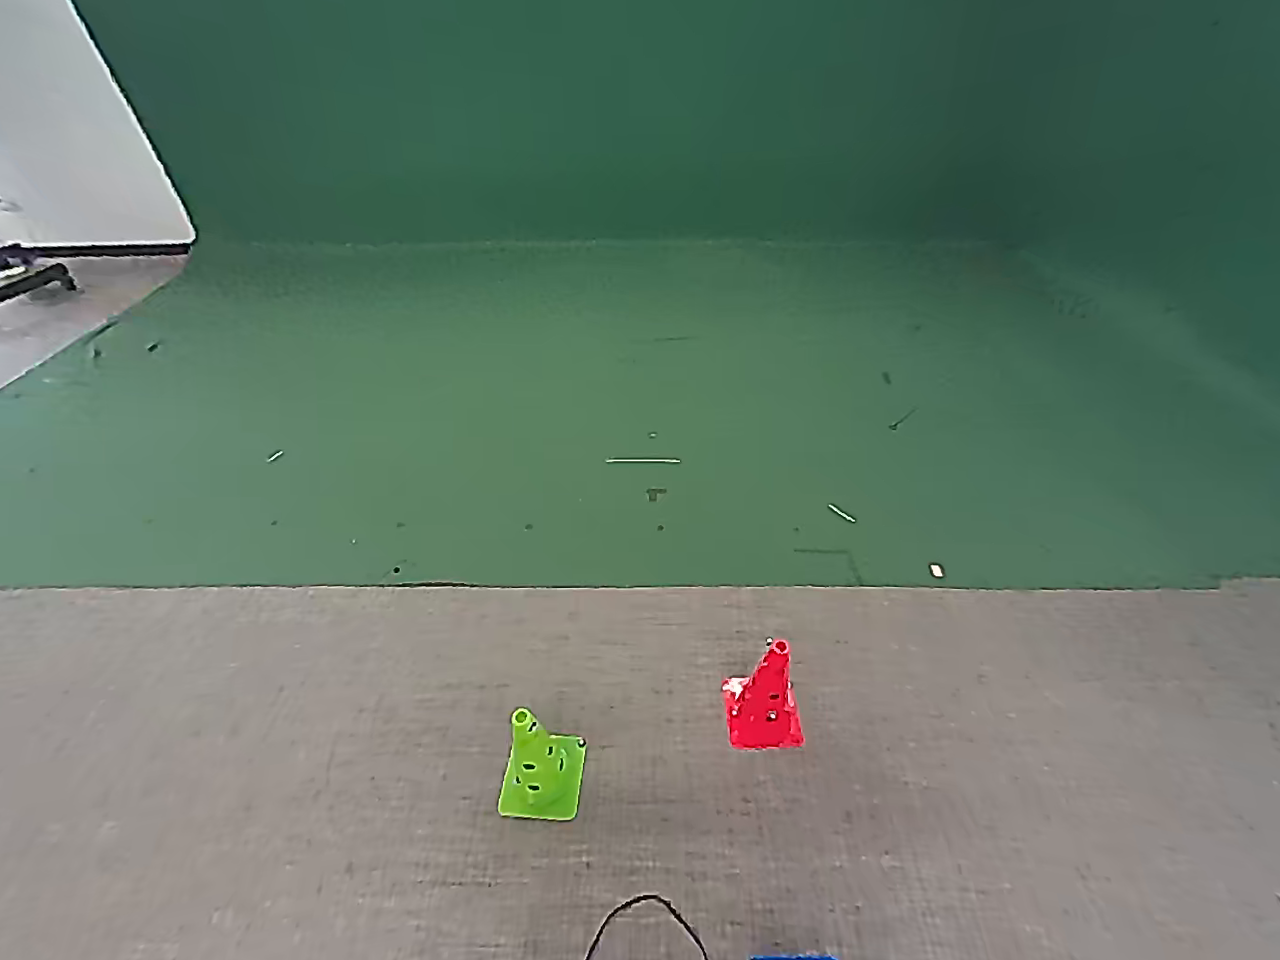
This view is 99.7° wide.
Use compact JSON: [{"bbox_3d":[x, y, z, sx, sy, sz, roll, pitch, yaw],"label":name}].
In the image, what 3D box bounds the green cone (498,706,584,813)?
[{"bbox_3d":[-0.257,0.629,1.288,0.200,0.368,0.202,1,44,3],"label":"green cone"}]
